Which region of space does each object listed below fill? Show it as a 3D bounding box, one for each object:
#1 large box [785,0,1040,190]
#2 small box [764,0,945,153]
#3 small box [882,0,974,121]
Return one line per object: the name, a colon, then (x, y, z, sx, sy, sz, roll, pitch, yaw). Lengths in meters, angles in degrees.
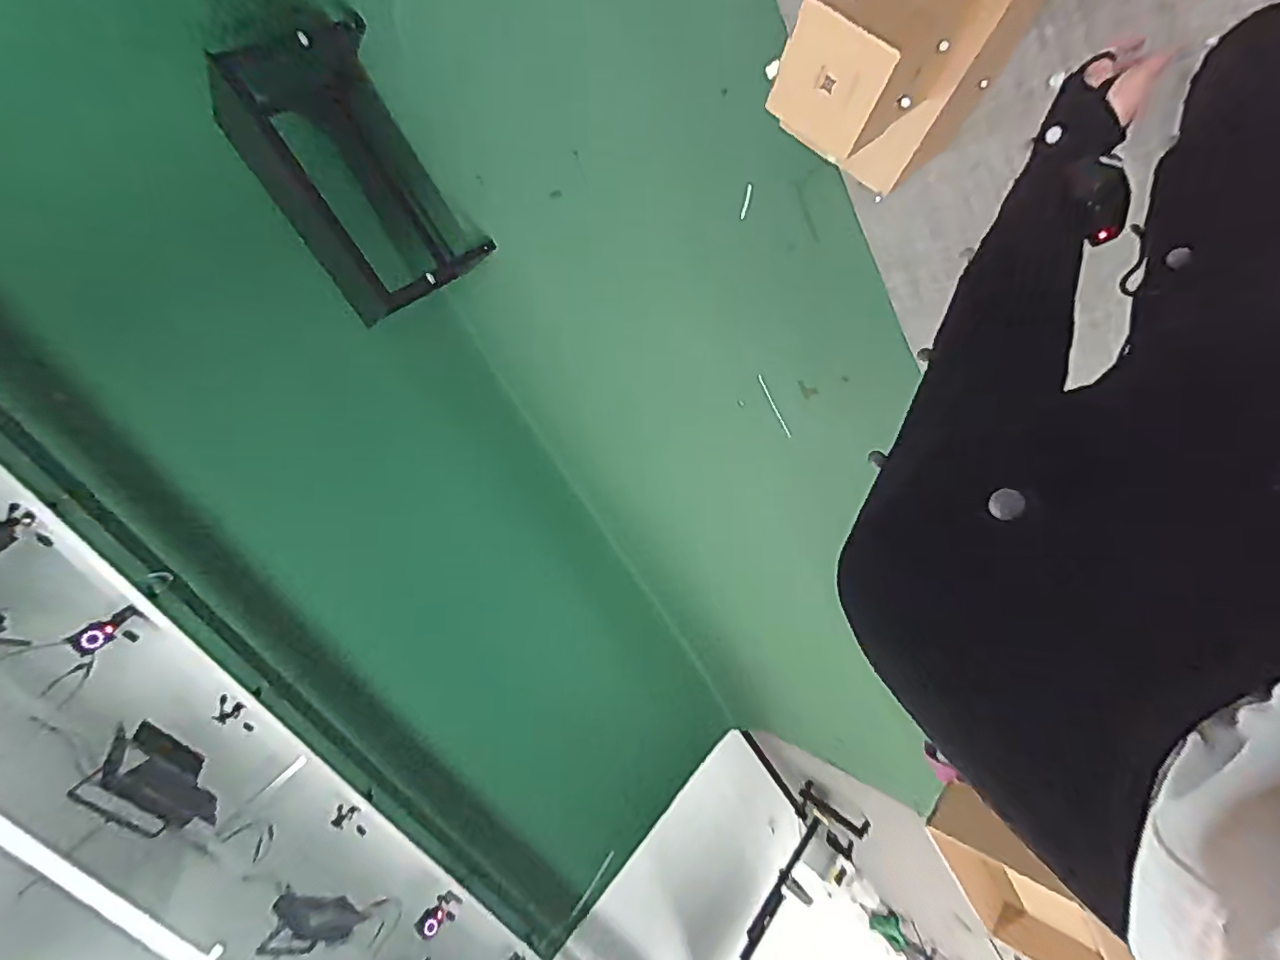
large box: (0.574, -0.921, 1.117, 0.320, 0.320, 0.408, 44, 156, 12)
small box: (0.340, -0.679, 0.871, 0.179, 0.176, 0.168, 42, 155, 10)
small box: (0.443, -0.782, 0.944, 0.168, 0.176, 0.179, 42, 154, 12)
